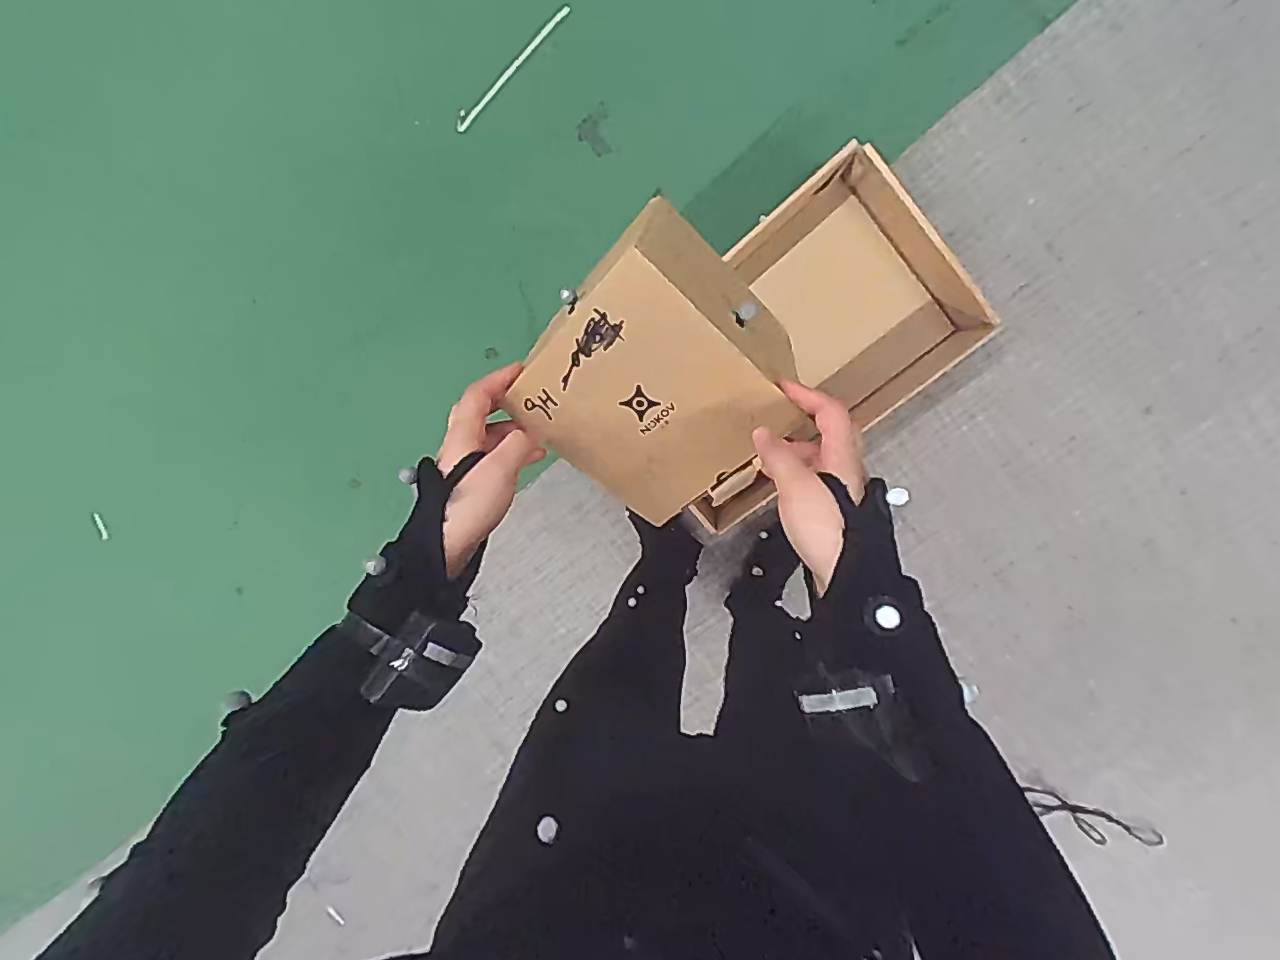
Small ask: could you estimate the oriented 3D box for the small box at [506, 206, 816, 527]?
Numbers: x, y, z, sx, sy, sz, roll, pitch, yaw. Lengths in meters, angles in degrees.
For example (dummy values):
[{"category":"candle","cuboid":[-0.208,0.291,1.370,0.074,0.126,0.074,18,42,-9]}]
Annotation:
[{"category":"small box","cuboid":[0.022,-0.099,0.463,0.179,0.176,0.168,38,123,-21]}]
